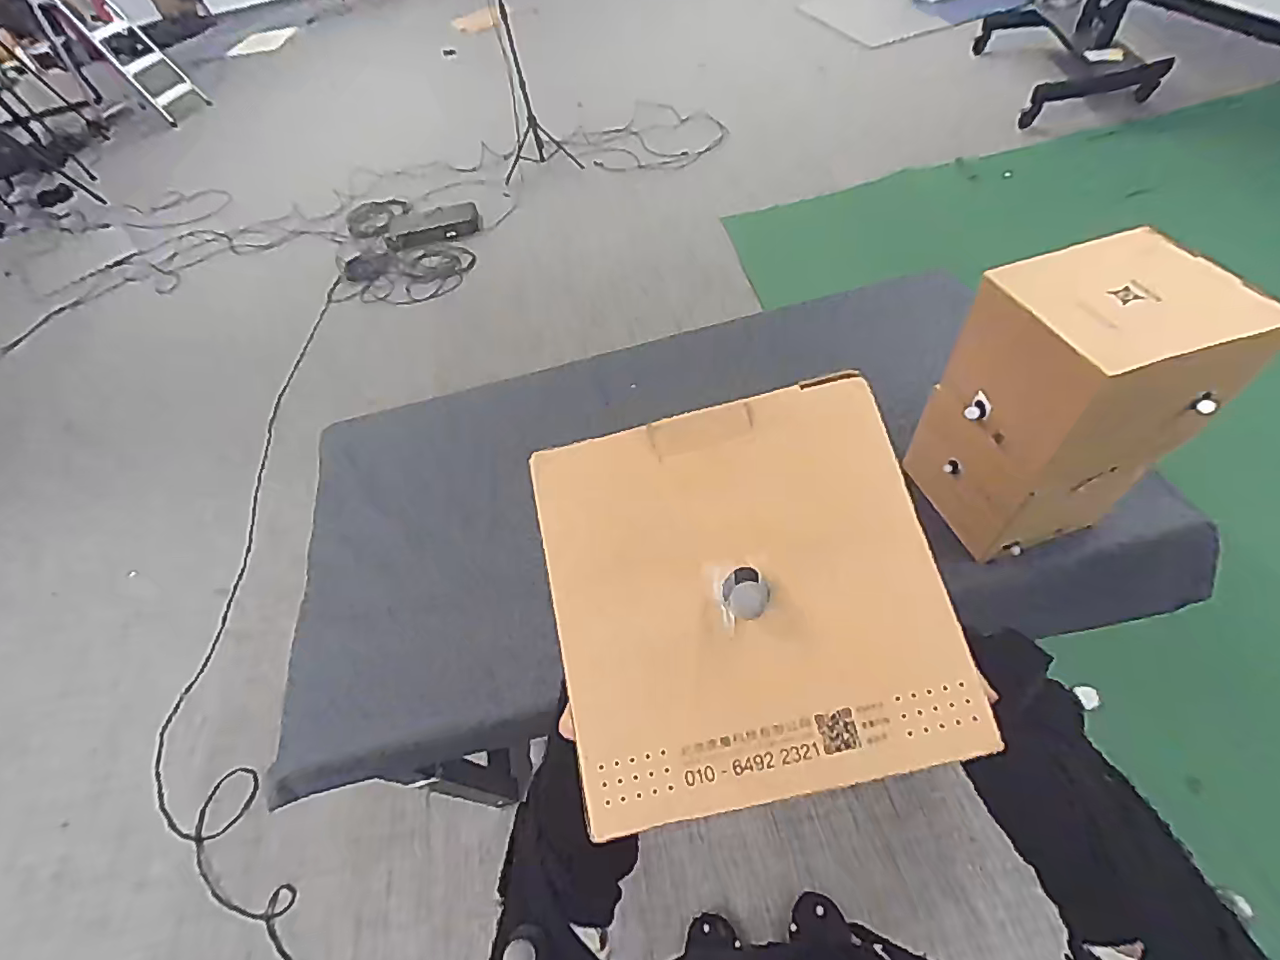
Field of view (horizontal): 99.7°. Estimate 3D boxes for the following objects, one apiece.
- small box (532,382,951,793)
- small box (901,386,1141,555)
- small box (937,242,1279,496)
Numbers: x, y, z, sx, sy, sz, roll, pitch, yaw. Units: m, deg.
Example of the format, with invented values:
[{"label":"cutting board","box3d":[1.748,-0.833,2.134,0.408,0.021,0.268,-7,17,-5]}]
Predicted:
[{"label":"small box","box3d":[0.047,0.068,0.325,0.168,0.179,0.176,-12,74,1]},{"label":"small box","box3d":[0.472,-0.023,0.698,0.168,0.176,0.179,-18,52,-3]},{"label":"small box","box3d":[0.452,-0.110,0.564,0.179,0.176,0.168,-17,51,-1]}]
